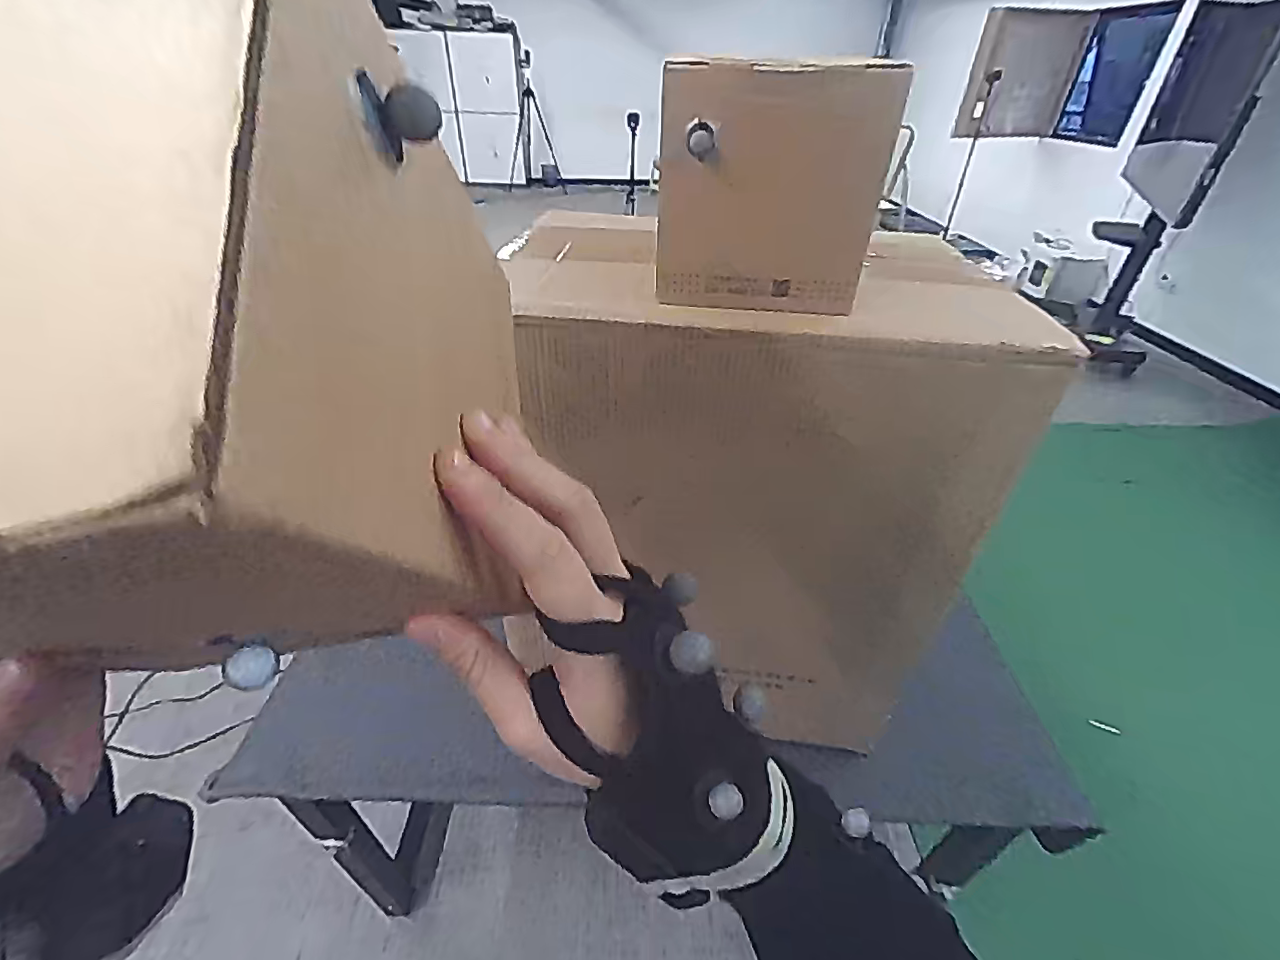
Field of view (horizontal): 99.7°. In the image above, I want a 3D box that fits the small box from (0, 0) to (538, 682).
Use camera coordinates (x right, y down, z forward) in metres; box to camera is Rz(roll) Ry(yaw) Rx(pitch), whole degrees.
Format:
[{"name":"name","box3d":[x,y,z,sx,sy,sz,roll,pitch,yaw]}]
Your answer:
[{"name":"small box","box3d":[-0.140,-0.031,0.183,0.168,0.176,0.179,-9,71,3]}]
